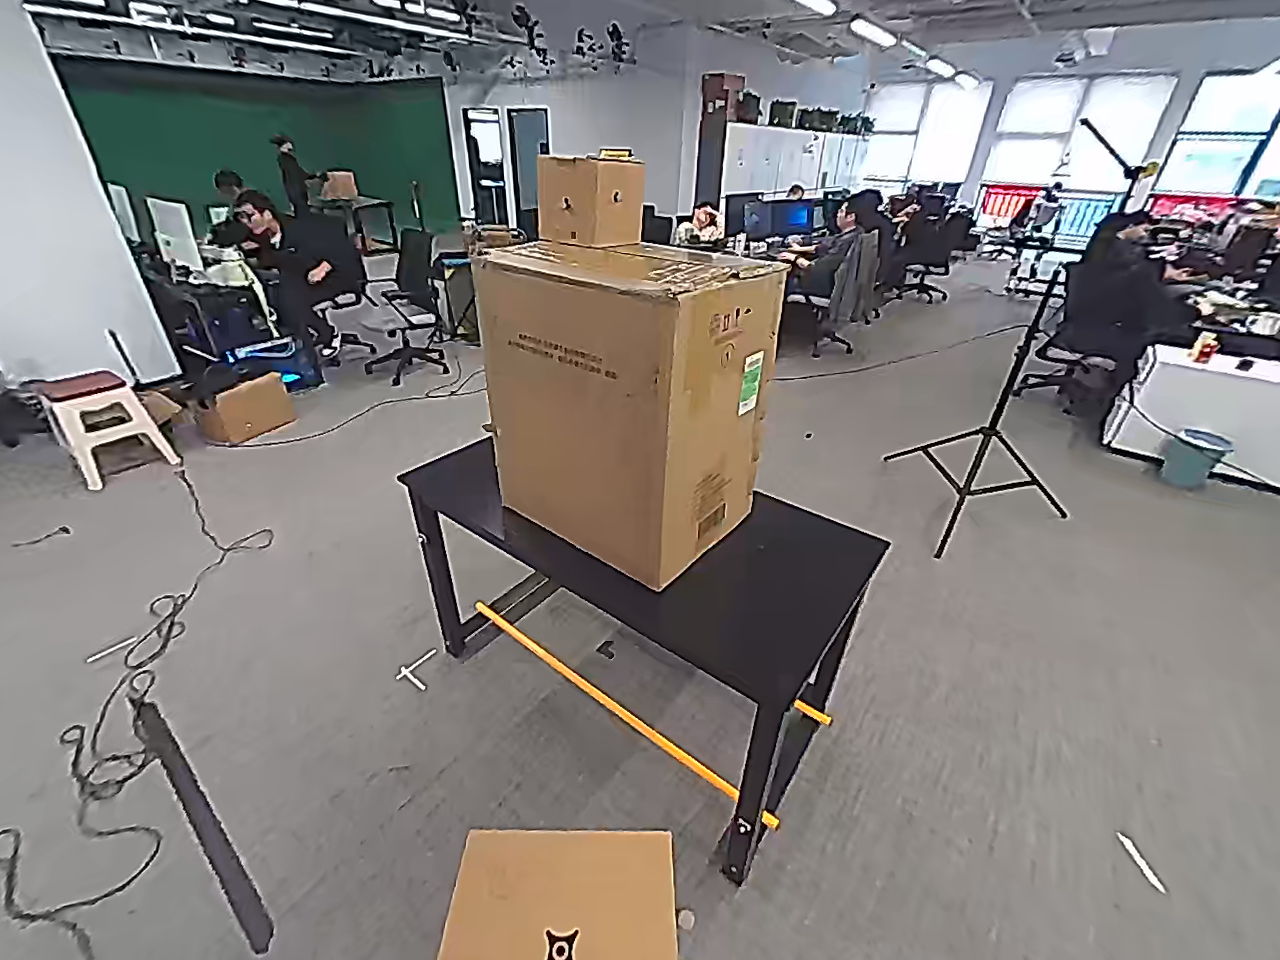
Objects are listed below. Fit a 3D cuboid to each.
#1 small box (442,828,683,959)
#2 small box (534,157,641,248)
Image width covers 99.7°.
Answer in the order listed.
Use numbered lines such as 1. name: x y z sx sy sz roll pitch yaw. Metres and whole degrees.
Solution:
1. small box: -0.055 0.395 0.402 0.168 0.176 0.179 1 31 -1
2. small box: -0.112 -0.618 1.203 0.168 0.176 0.179 21 35 27
